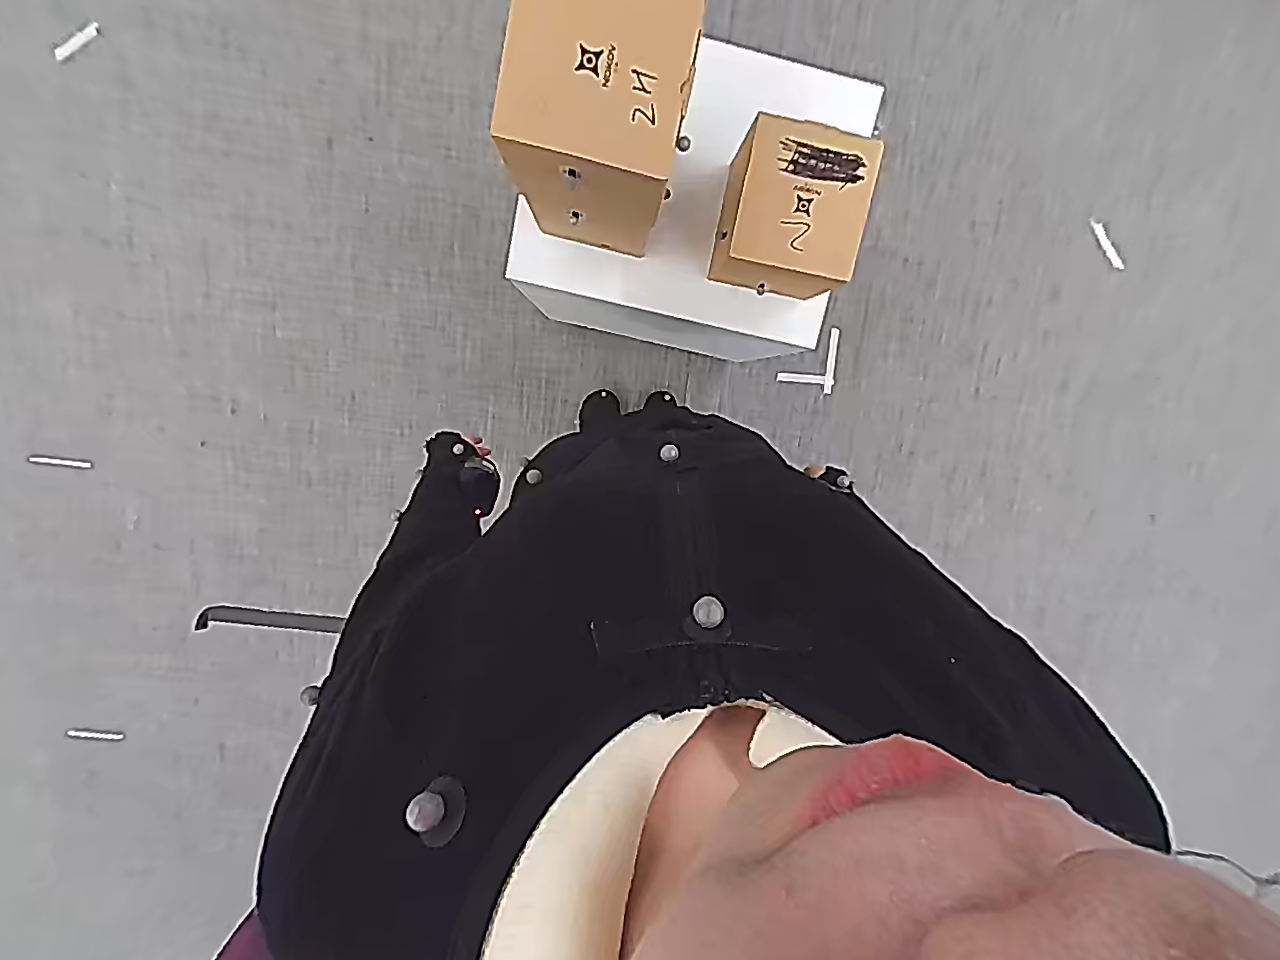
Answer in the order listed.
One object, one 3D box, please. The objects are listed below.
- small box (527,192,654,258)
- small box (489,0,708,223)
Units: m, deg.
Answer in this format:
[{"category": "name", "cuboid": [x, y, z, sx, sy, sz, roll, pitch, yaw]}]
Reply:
[{"category": "small box", "cuboid": [-0.049, -0.428, 0.738, 0.168, 0.176, 0.179, 13, 98, -5]}, {"category": "small box", "cuboid": [-0.043, -0.395, 0.577, 0.179, 0.176, 0.168, 12, 100, -5]}]
